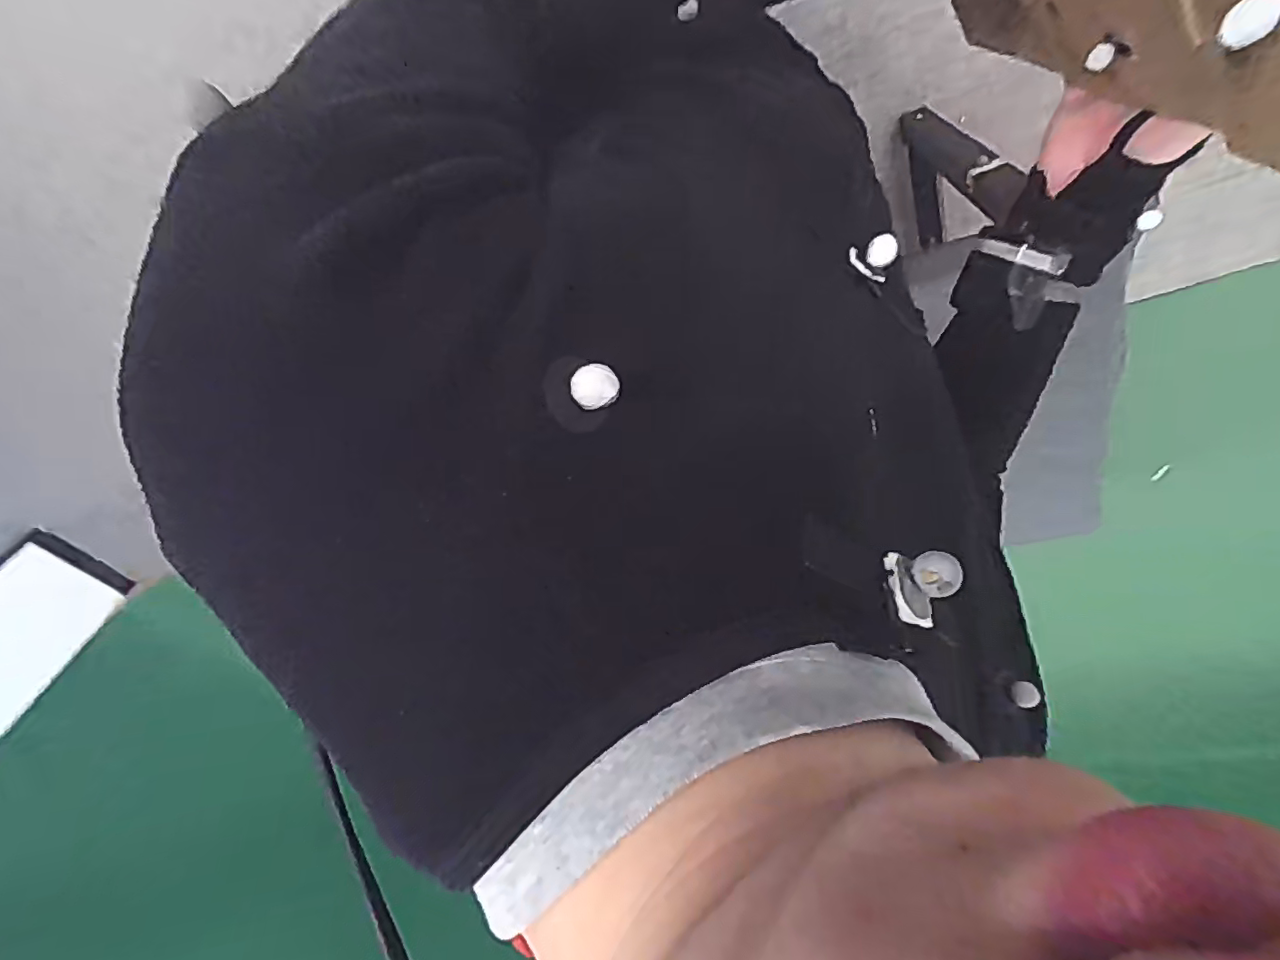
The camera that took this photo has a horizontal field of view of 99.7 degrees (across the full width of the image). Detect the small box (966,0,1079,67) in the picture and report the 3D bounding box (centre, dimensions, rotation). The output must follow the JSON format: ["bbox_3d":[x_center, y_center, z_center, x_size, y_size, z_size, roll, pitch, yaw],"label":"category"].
[{"bbox_3d":[0.303,-0.419,0.344,0.179,0.176,0.168,-34,124,31],"label":"small box"}]

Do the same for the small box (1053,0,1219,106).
[{"bbox_3d":[0.294,-0.303,0.230,0.168,0.176,0.179,34,127,-28],"label":"small box"}]
